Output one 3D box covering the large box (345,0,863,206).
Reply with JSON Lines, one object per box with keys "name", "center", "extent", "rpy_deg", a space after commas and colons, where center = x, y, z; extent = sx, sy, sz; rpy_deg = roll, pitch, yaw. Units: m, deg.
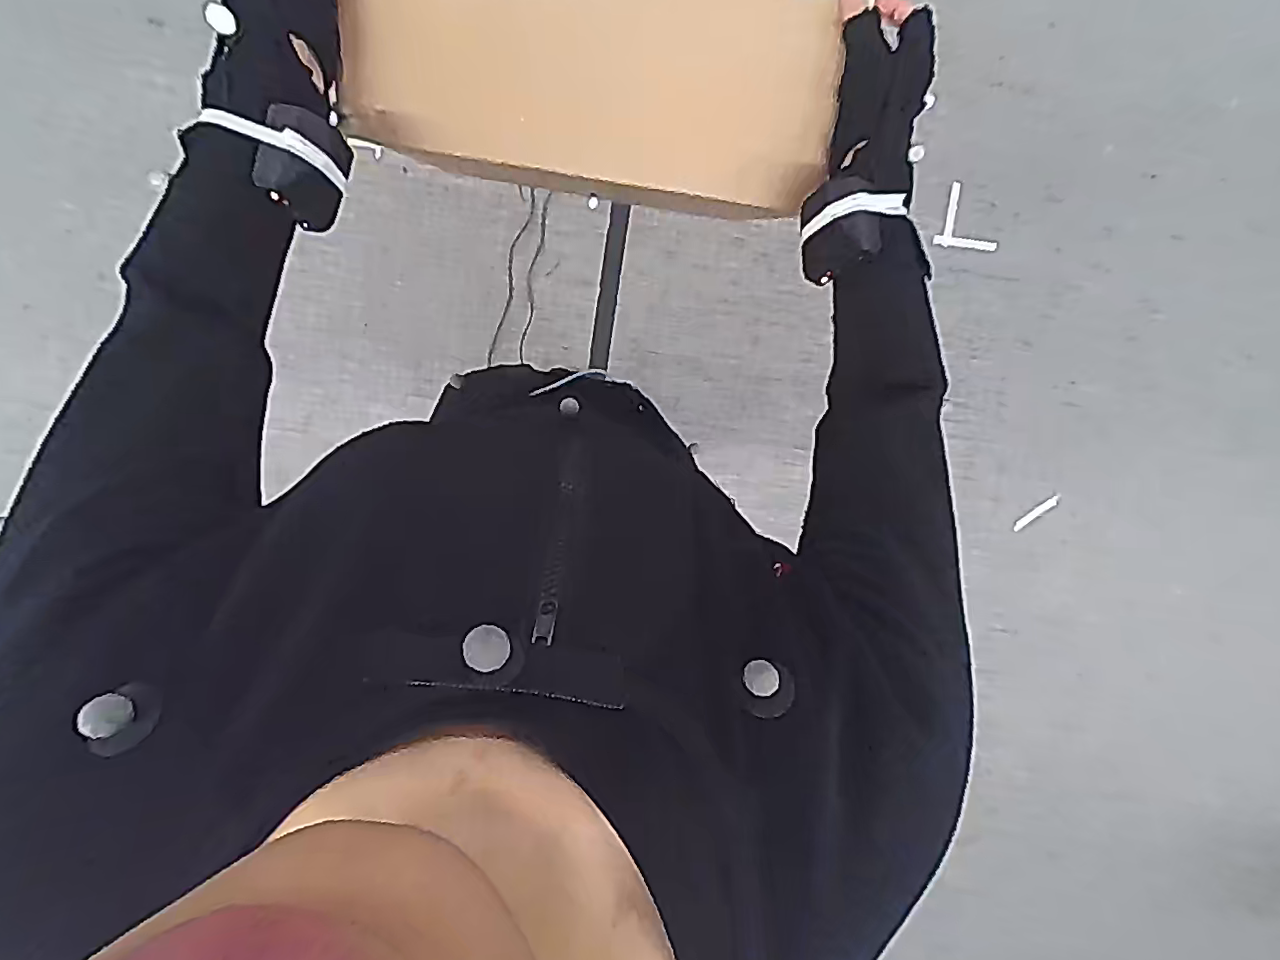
{"name": "large box", "center": [-0.025, -0.466, 0.535], "extent": [0.408, 0.320, 0.320], "rpy_deg": [6, 114, -7]}
